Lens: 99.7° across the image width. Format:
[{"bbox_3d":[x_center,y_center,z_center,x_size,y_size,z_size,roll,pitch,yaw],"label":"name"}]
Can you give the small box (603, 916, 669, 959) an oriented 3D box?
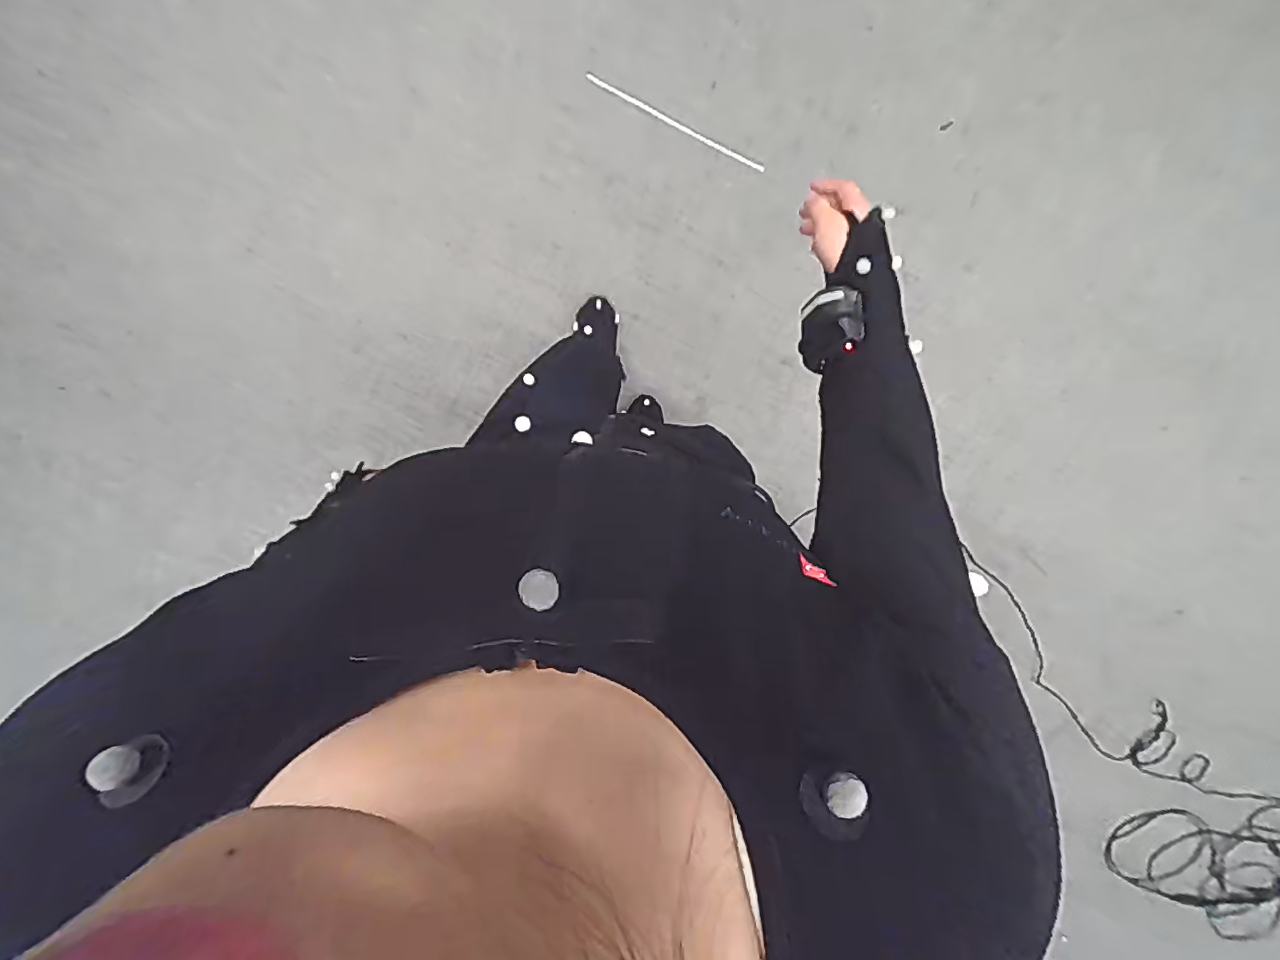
[{"bbox_3d":[-0.017,1.551,1.727,0.179,0.176,0.168,22,102,-3],"label":"small box"}]
